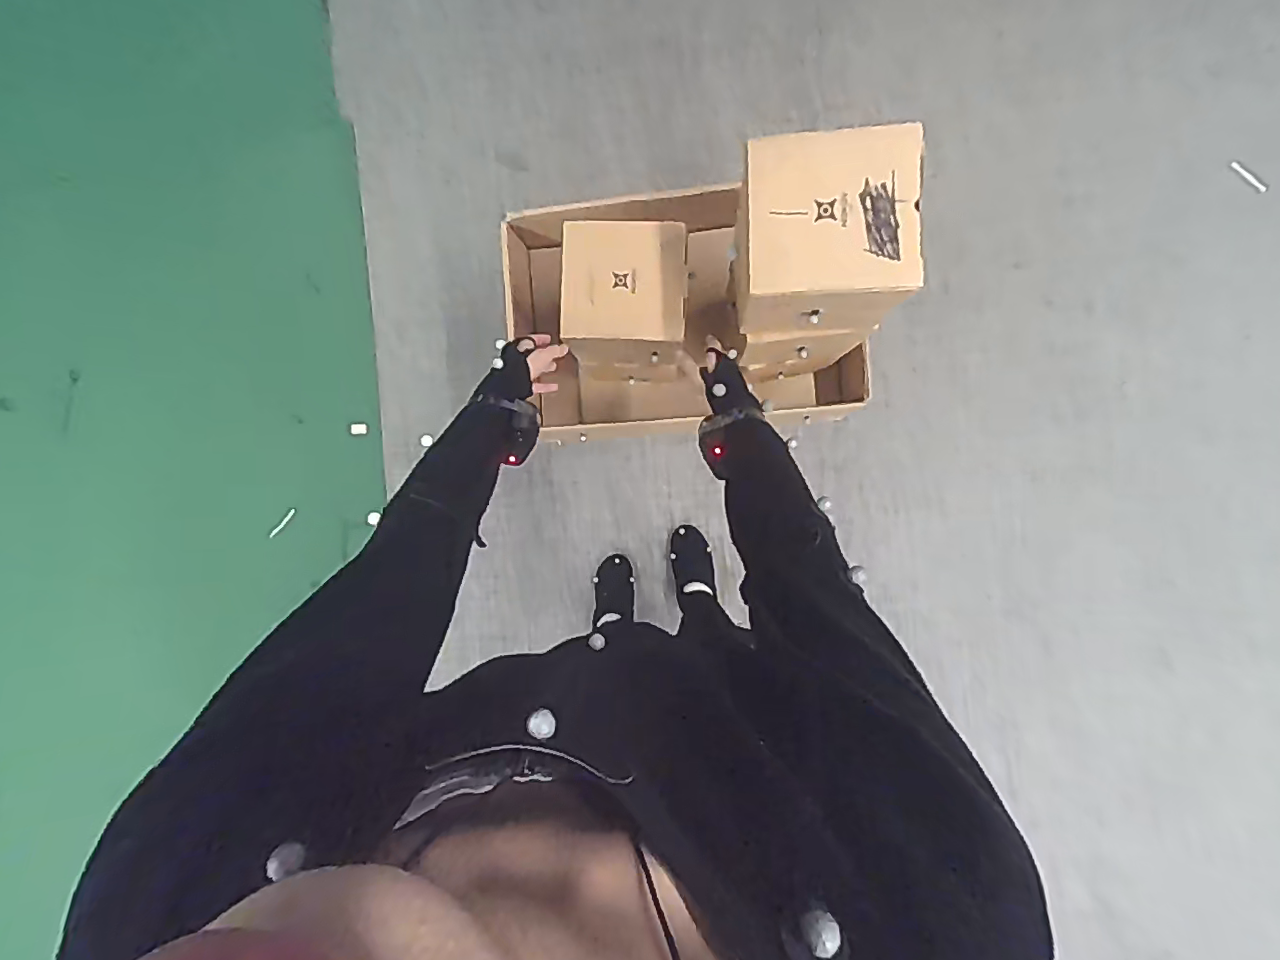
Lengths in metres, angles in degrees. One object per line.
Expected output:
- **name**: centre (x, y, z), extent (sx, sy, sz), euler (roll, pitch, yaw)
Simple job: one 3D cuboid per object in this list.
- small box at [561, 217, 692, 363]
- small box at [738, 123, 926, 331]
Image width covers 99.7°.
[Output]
- **small box**: centre (-0.015, -0.278, 0.821), extent (0.179, 0.176, 0.168), euler (3, 90, 4)
- **small box**: centre (0.208, -0.277, 0.629), extent (0.179, 0.176, 0.168), euler (0, 91, 8)
